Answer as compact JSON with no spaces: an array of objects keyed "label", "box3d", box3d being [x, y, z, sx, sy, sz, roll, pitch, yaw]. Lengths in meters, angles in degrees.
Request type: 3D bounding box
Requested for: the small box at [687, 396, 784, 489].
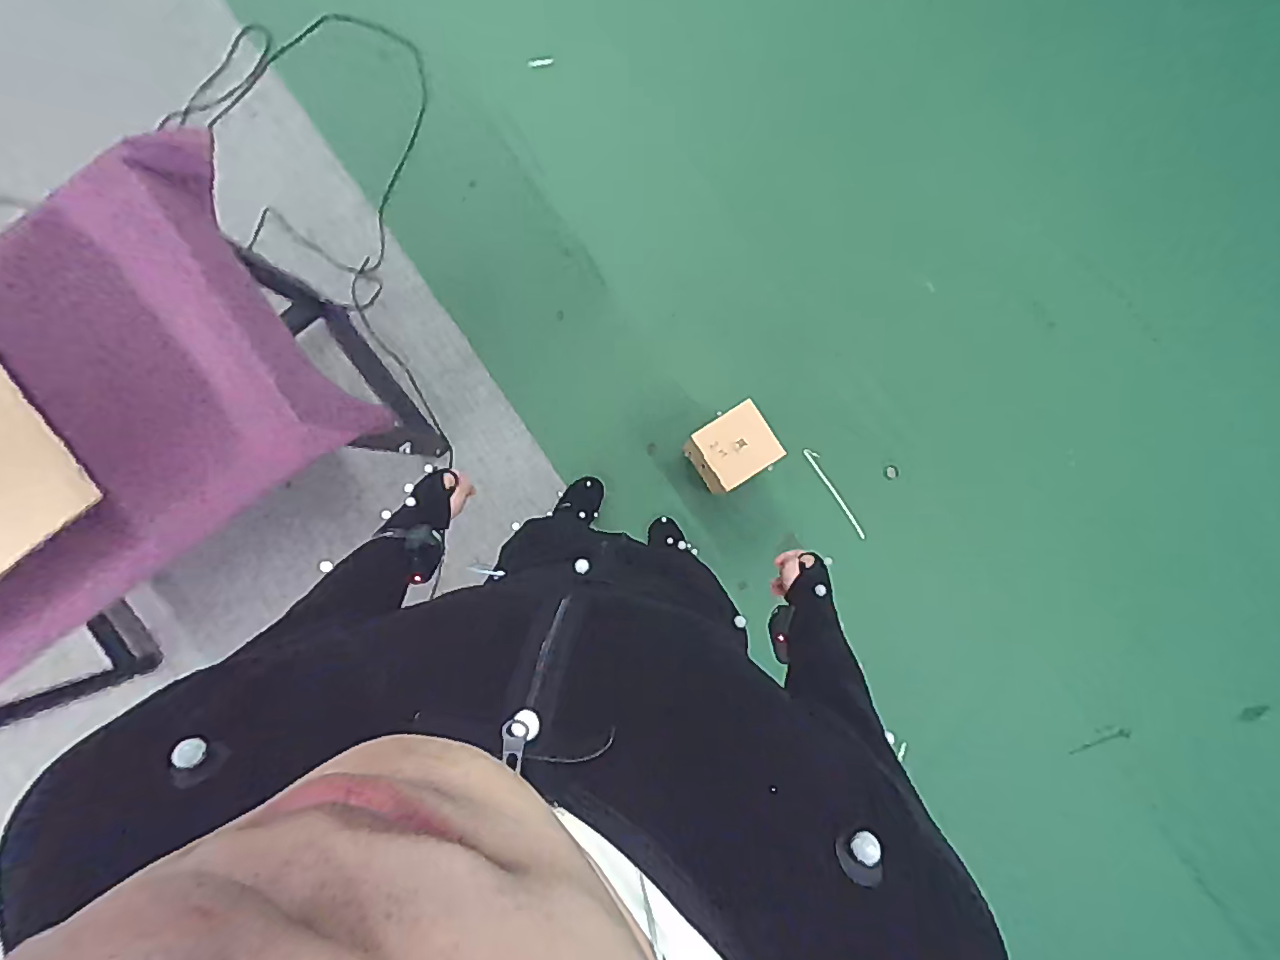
[{"label":"small box","box3d":[0.236,-0.091,1.384,0.179,0.176,0.168,-32,88,0]}]
